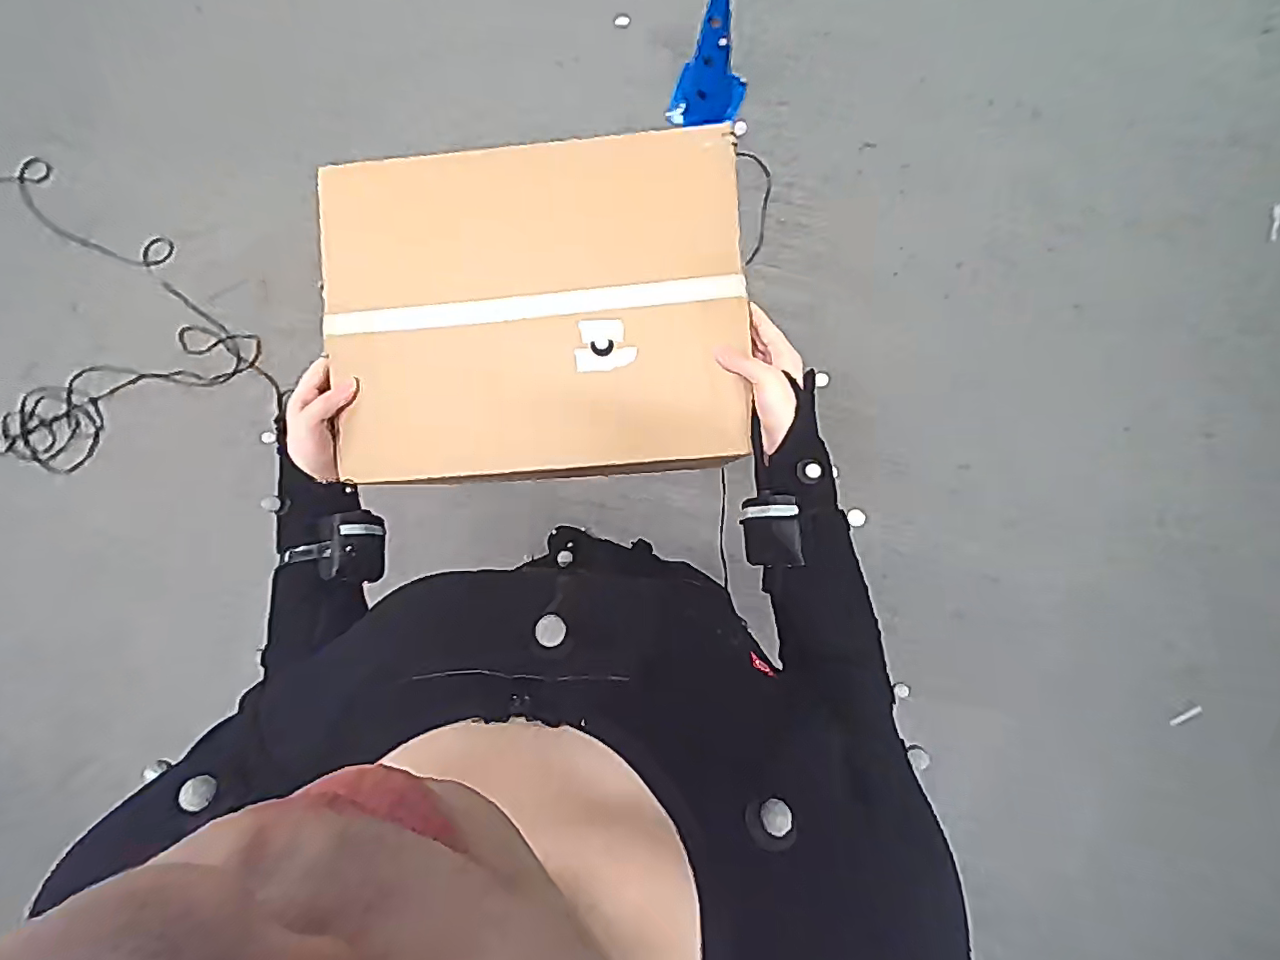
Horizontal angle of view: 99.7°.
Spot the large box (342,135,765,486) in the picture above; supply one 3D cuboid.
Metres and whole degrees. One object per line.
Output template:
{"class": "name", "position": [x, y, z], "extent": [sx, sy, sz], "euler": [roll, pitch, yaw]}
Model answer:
{"class": "large box", "position": [-0.085, -0.163, 0.673], "extent": [0.408, 0.320, 0.320], "euler": [-4, 89, 2]}

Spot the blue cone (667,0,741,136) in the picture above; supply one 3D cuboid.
{"class": "blue cone", "position": [0.186, -1.138, 1.443], "extent": [0.193, 0.380, 0.192], "euler": [21, 86, 2]}
